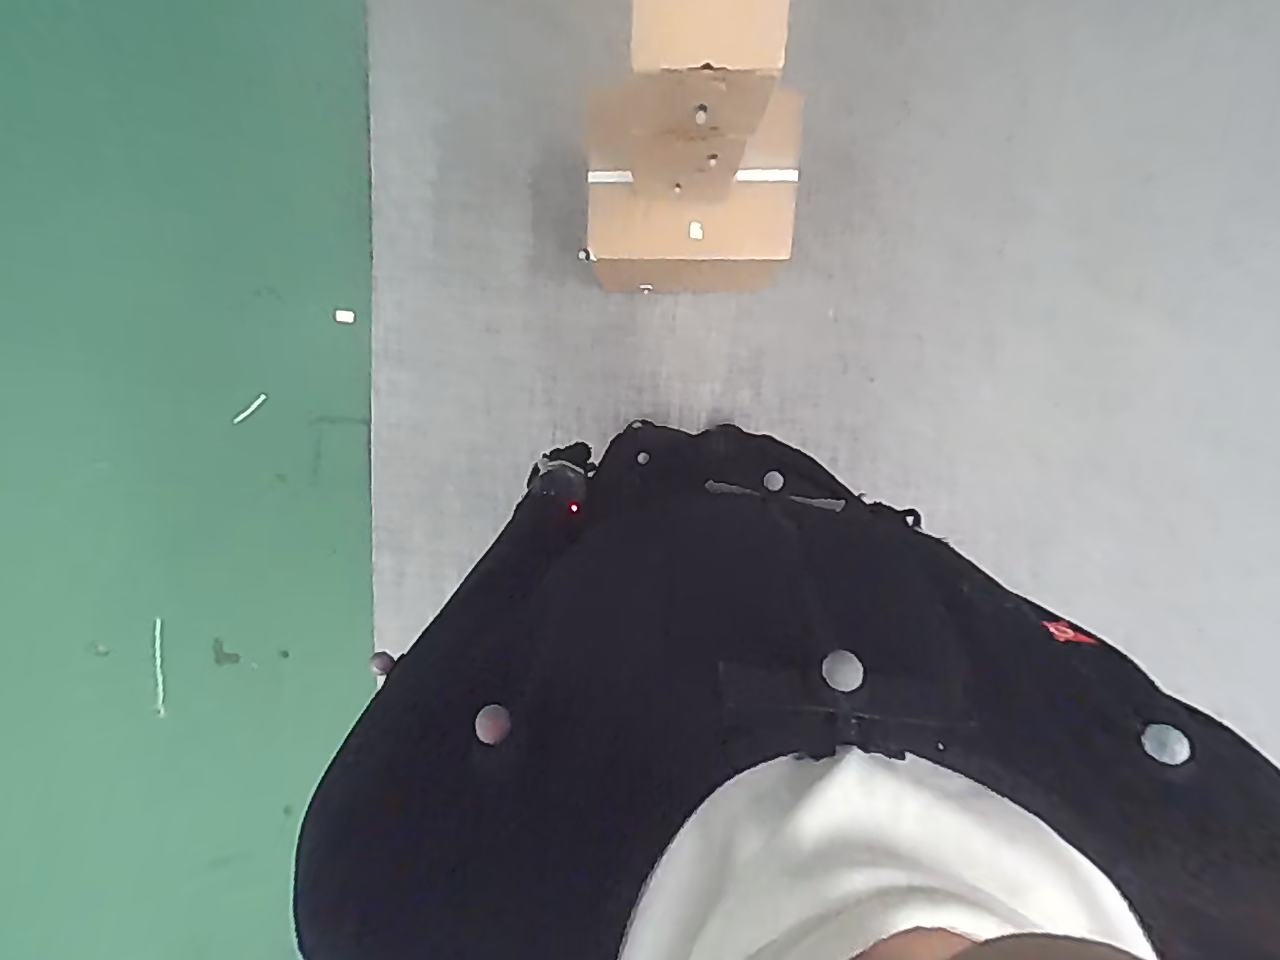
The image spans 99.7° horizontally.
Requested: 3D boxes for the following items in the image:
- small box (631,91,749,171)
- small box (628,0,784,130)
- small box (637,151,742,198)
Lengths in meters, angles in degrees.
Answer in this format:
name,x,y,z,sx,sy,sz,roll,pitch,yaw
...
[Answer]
name,x,y,z,sx,sy,sz,roll,pitch,yaw
small box,0.078,-0.580,0.806,0.168,0.176,0.179,2,102,3
small box,0.078,-0.544,0.647,0.168,0.176,0.179,3,104,3
small box,0.088,-0.615,0.964,0.179,0.176,0.168,2,104,4
